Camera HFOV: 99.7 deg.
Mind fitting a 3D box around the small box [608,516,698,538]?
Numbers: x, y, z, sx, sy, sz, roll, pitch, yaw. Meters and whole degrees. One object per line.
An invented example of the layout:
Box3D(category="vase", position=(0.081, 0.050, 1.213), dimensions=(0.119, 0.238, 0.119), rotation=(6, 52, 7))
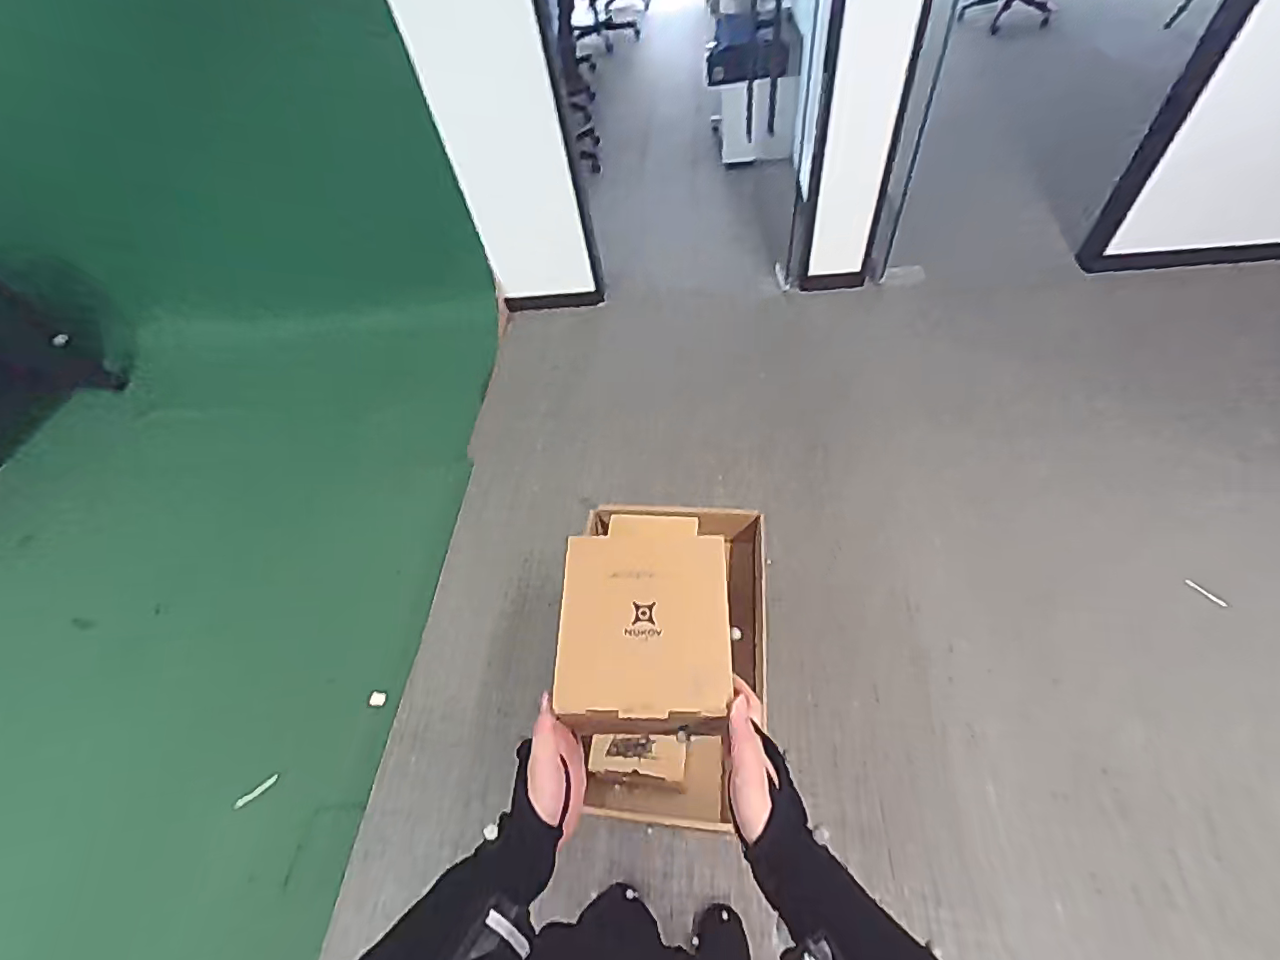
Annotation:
Box3D(category="small box", position=(0.022, 0.189, 1.021), dimensions=(0.168, 0.176, 0.179), rotation=(2, 56, 9))

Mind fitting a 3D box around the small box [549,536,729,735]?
Box3D(category="small box", position=(0.006, 0.175, 0.591), dimensions=(0.168, 0.176, 0.179), rotation=(0, 58, 3))

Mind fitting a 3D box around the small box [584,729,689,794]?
Box3D(category="small box", position=(0.006, 0.474, 1.014), dimensions=(0.168, 0.176, 0.179), rotation=(3, 53, 10))
